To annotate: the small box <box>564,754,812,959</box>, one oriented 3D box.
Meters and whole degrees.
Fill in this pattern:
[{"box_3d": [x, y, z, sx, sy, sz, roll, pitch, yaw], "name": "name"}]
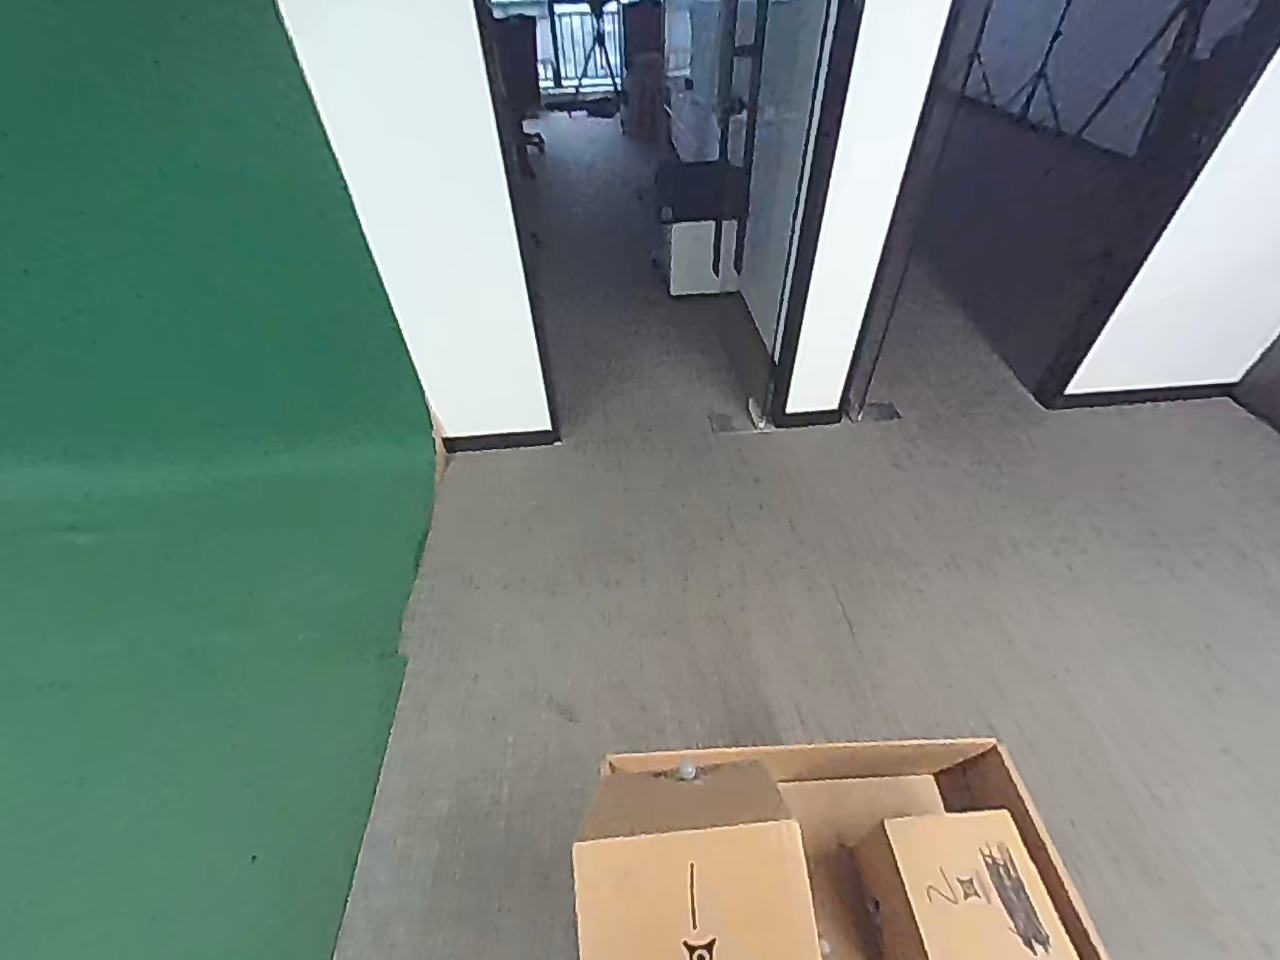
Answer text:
[{"box_3d": [0.041, 0.347, 0.442, 0.168, 0.176, 0.179, -8, 75, 2], "name": "small box"}]
